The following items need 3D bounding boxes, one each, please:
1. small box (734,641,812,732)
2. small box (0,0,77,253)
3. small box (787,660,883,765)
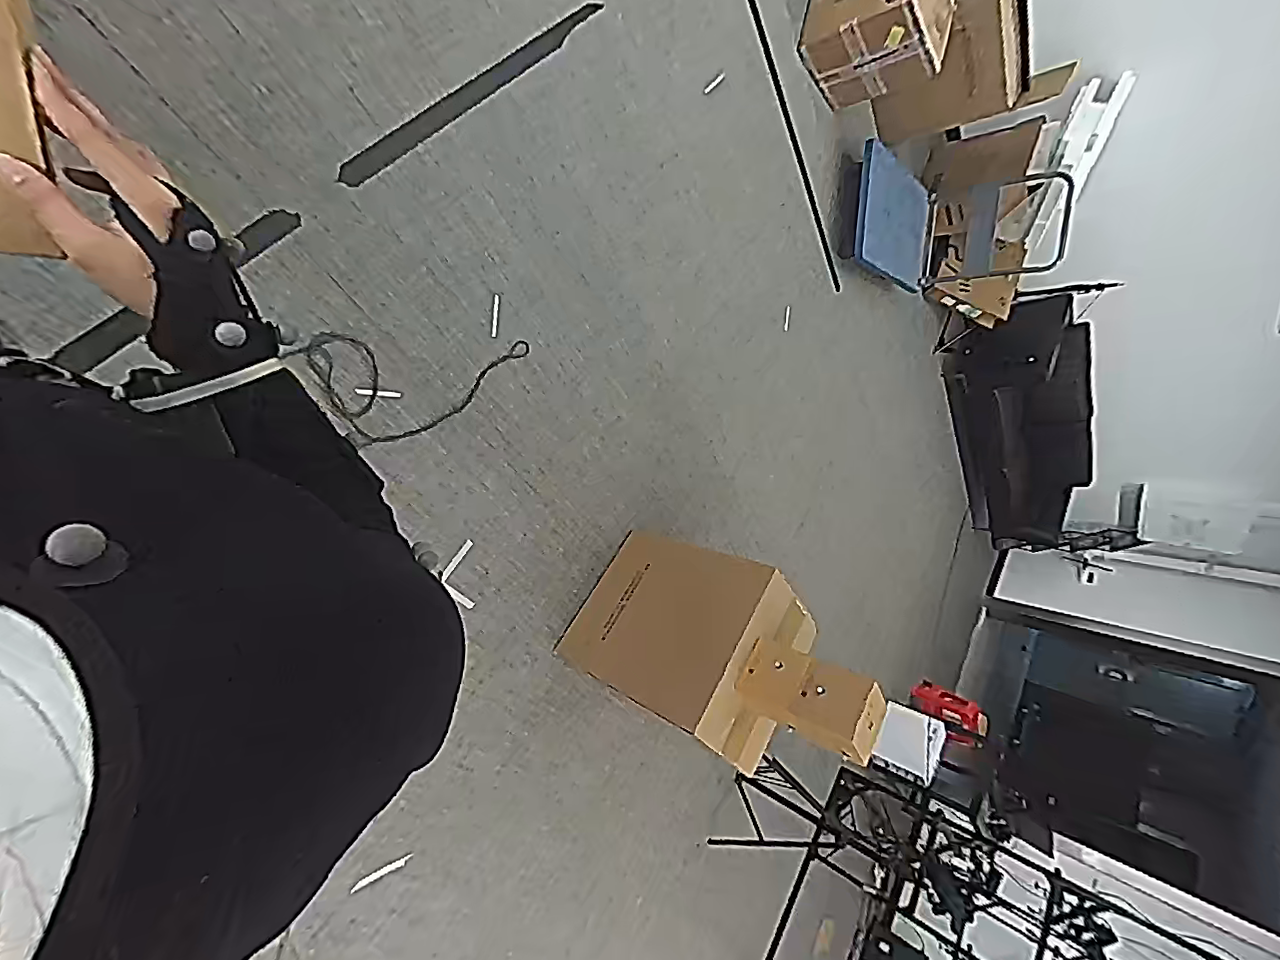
[{"bbox_3d":[0.389,0.575,1.525,0.168,0.176,0.179,-55,131,-25],"label":"small box"},{"bbox_3d":[-0.426,-0.229,0.282,0.168,0.176,0.179,-9,116,-43],"label":"small box"},{"bbox_3d":[0.510,0.600,1.415,0.168,0.176,0.179,-54,131,-27],"label":"small box"}]
